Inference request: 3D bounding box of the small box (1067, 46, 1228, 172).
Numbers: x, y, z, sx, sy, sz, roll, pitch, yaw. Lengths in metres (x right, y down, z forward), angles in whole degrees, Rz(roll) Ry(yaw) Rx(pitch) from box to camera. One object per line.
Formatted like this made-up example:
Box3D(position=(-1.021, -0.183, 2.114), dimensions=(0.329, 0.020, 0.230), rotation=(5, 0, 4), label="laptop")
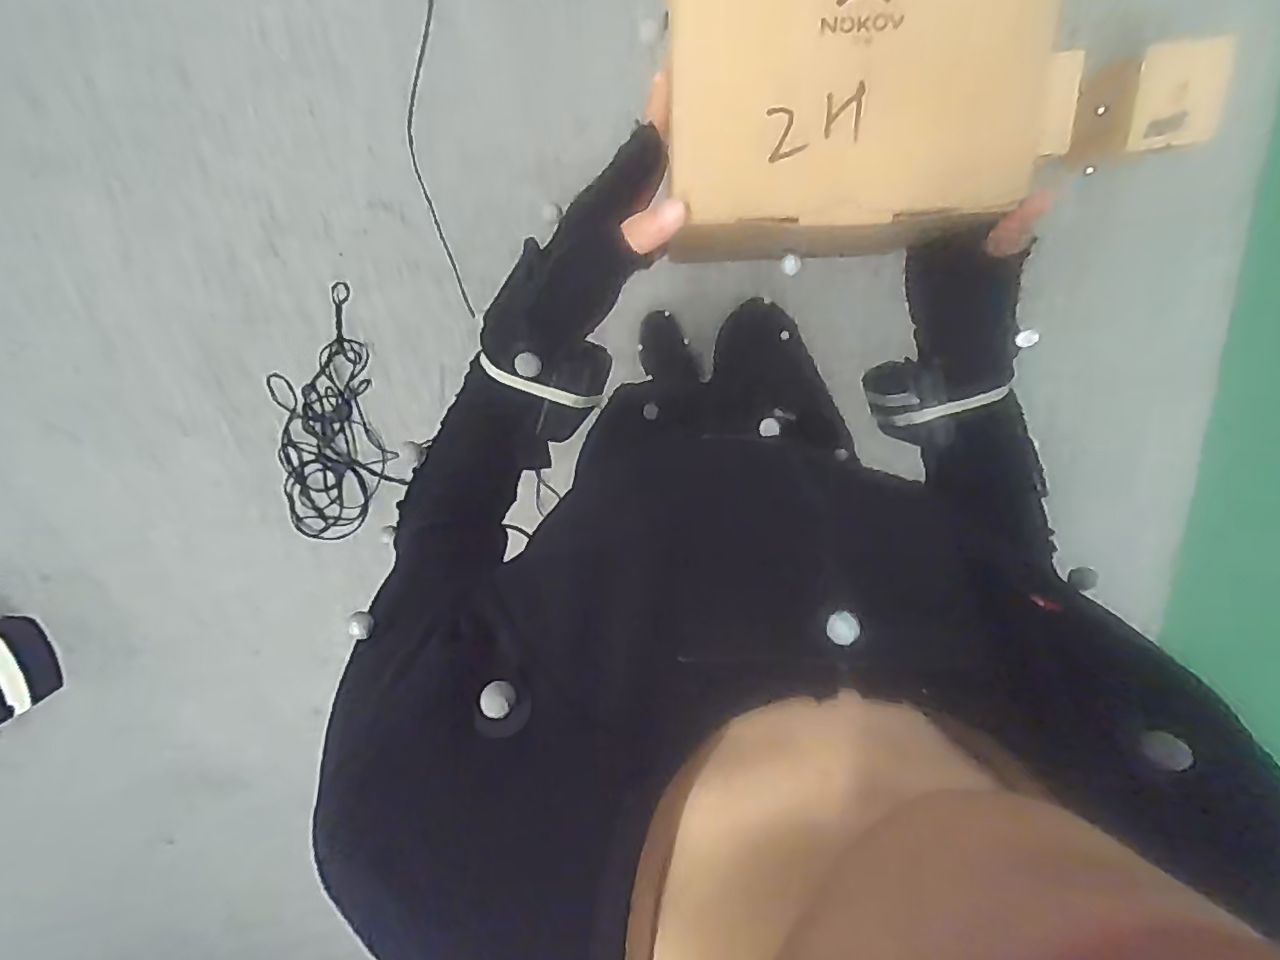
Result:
Box3D(position=(1.038, -0.758, 1.125), dimensions=(0.168, 0.176, 0.179), rotation=(-5, 108, 3), label="small box")
